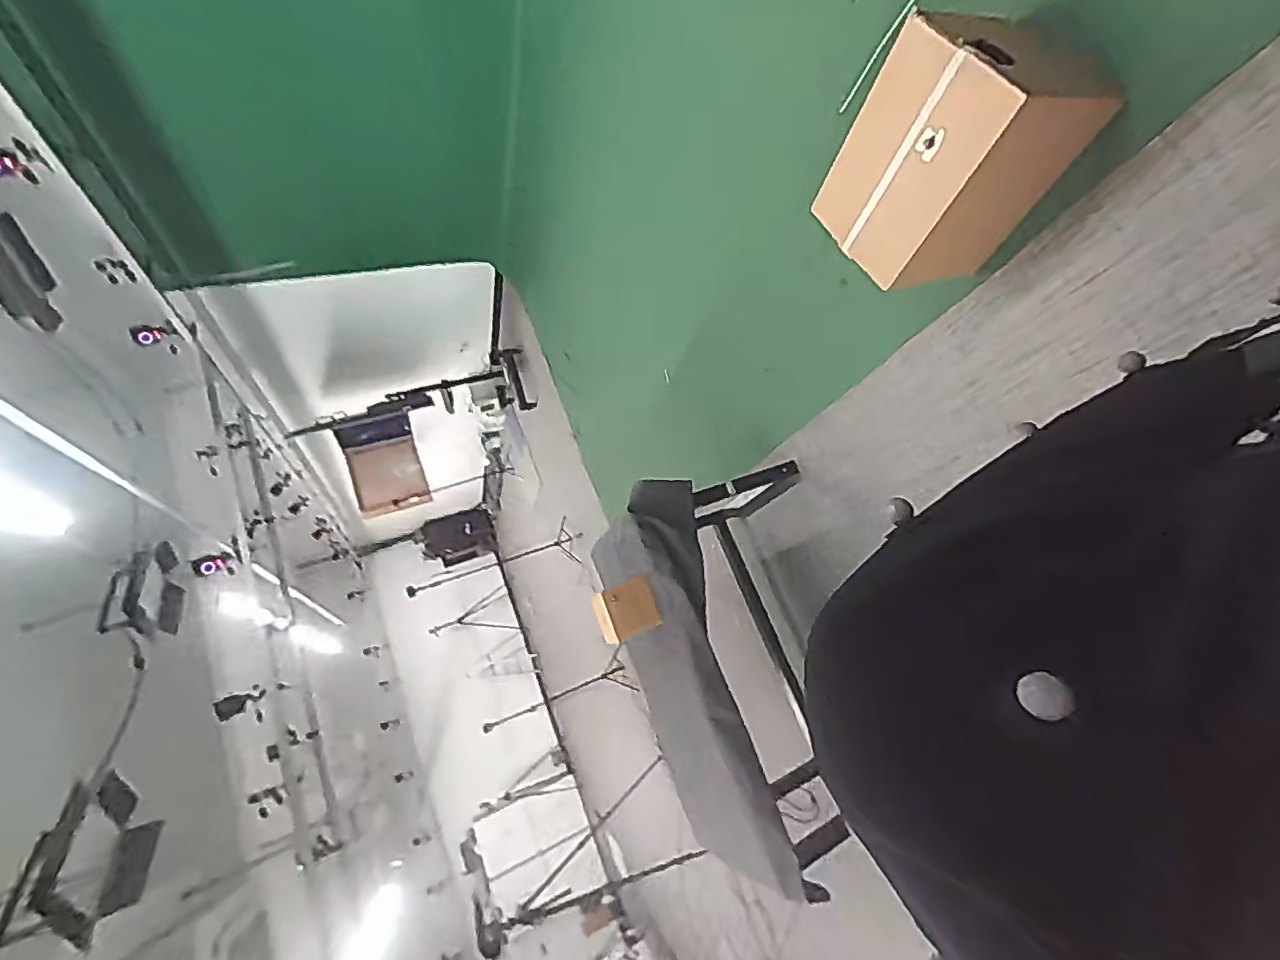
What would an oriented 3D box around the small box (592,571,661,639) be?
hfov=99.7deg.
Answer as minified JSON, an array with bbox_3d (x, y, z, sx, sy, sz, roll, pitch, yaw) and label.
[{"bbox_3d":[-0.047,0.430,1.860,0.179,0.176,0.168,68,157,12],"label":"small box"}]
